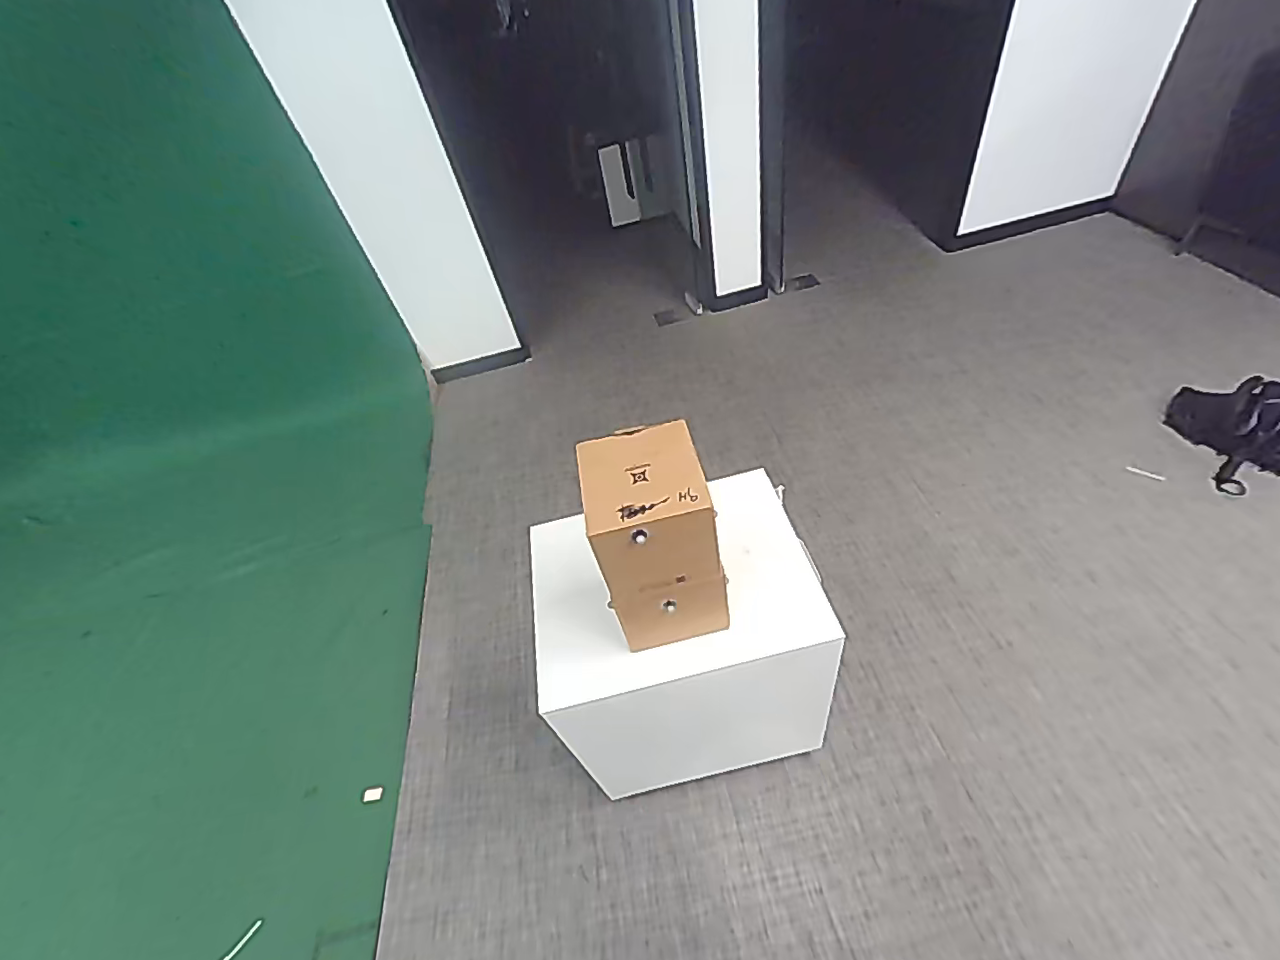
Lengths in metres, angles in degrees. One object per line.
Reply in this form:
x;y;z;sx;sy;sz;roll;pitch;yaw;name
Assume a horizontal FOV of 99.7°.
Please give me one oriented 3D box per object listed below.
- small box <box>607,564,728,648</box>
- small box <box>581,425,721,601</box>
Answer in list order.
0.042;0.162;0.914;0.179;0.176;0.168;-13;46;-1;small box
0.016;0.050;0.801;0.168;0.176;0.179;-14;47;-2;small box
